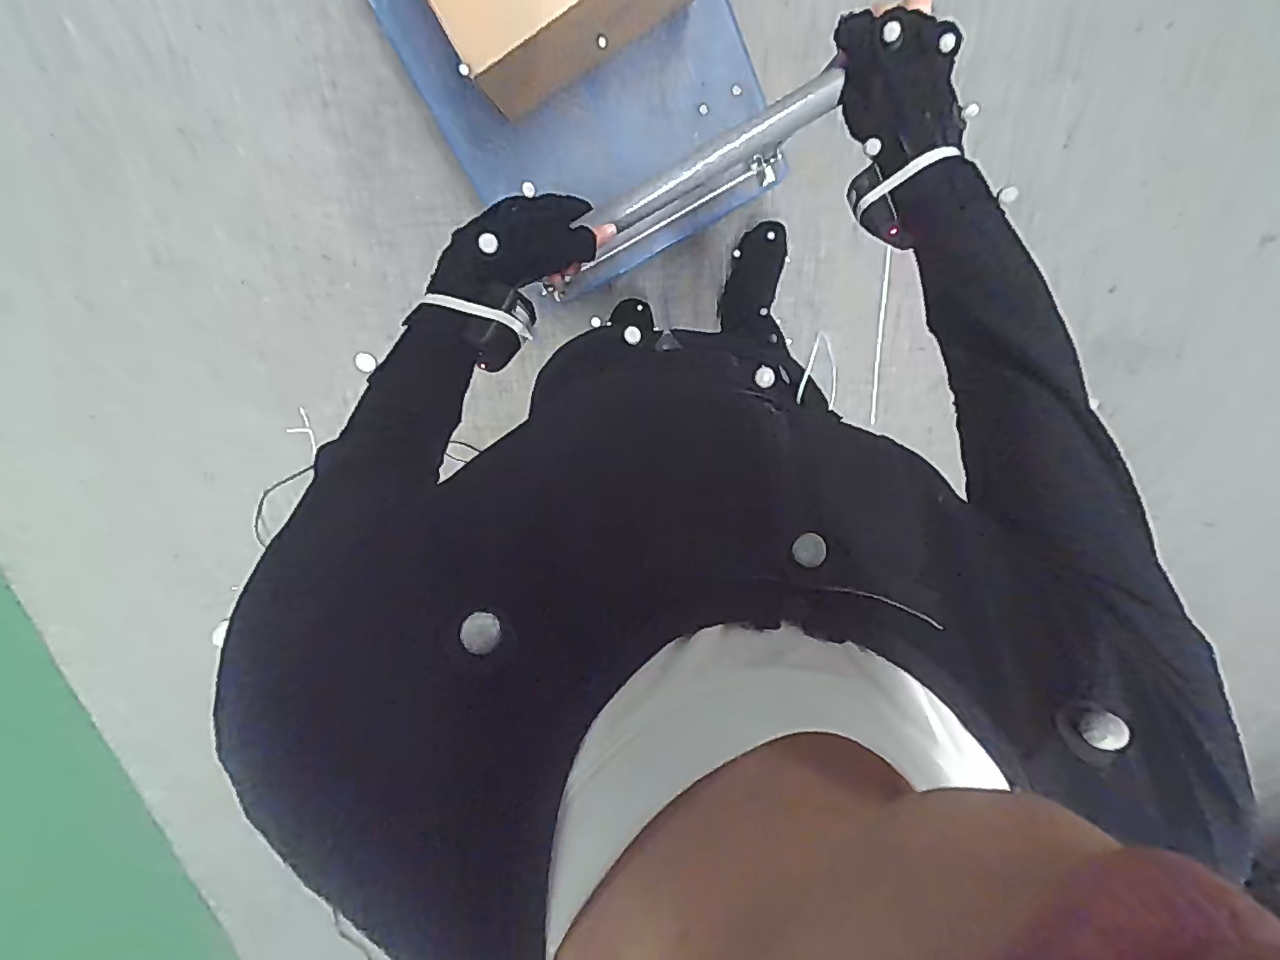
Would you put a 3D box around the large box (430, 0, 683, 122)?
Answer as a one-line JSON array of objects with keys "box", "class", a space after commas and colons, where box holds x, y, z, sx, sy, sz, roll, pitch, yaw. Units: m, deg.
[{"box": [-0.142, -0.842, 0.823, 0.408, 0.320, 0.320, -29, 111, 10], "class": "large box"}]
